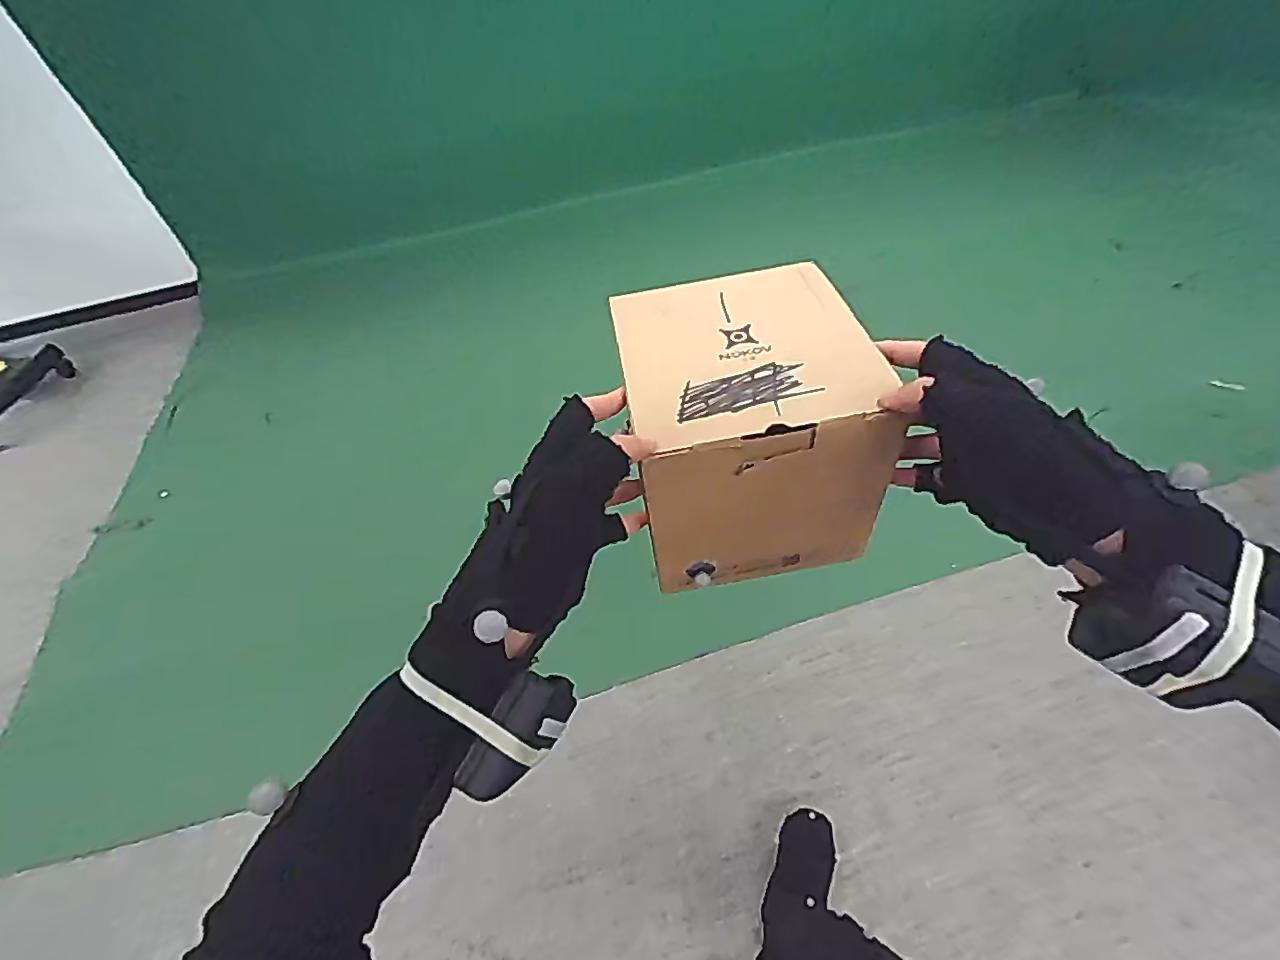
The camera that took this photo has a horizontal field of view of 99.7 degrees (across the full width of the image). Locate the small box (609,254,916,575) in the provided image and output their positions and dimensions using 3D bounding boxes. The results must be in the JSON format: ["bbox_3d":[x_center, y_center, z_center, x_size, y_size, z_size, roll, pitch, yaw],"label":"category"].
[{"bbox_3d":[0.077,-0.042,0.419,0.168,0.176,0.179,-11,49,0],"label":"small box"}]
